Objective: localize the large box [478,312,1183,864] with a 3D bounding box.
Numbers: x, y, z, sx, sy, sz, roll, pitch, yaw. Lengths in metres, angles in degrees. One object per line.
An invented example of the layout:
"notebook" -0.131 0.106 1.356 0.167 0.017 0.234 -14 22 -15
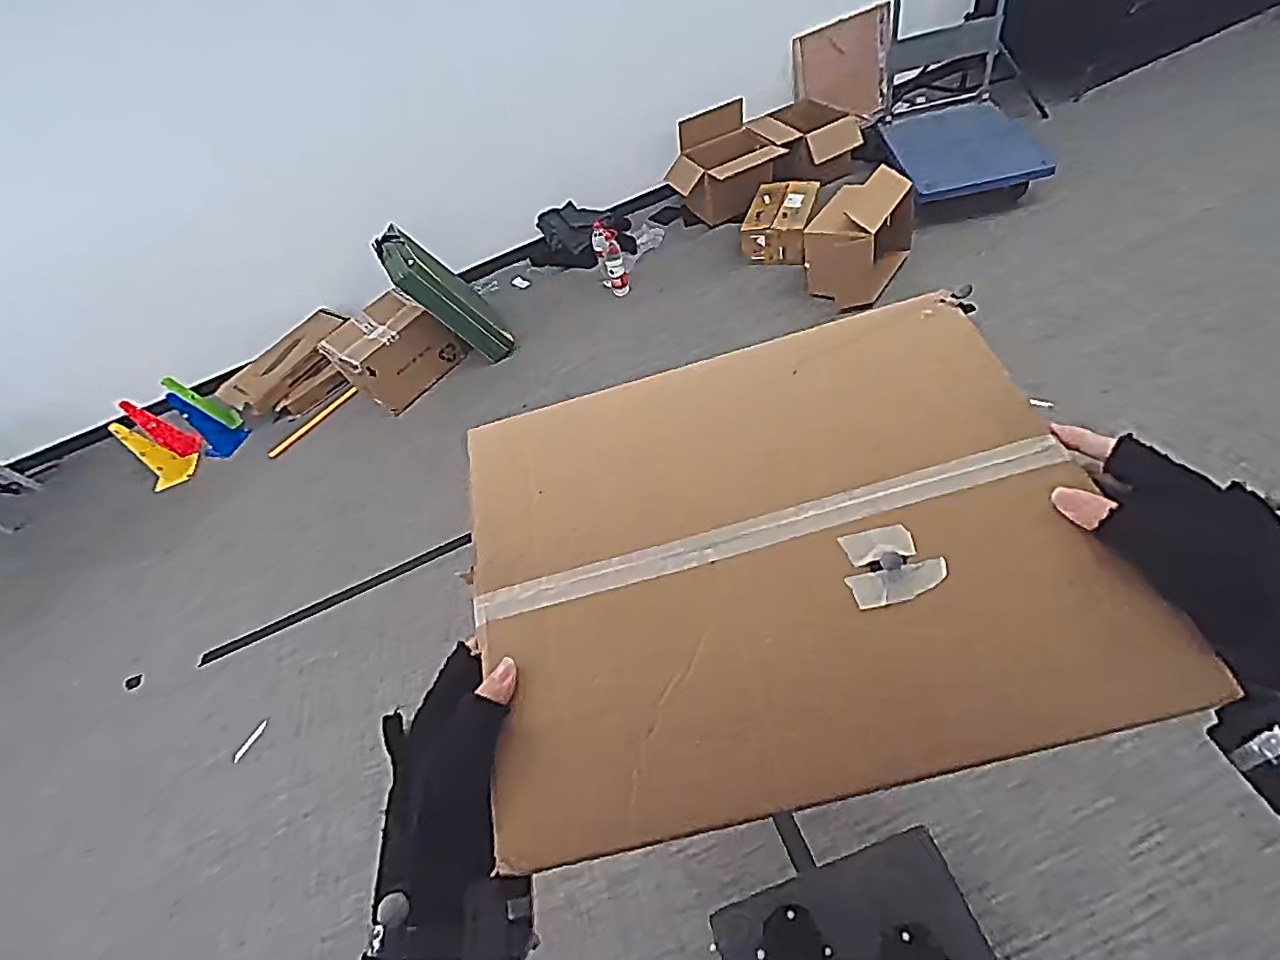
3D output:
"large box" 0.108 0.113 0.511 0.408 0.320 0.320 -16 61 3

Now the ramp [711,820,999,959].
"ramp" 0.538 1.195 0.882 0.509 0.206 0.991 -23 51 -3
